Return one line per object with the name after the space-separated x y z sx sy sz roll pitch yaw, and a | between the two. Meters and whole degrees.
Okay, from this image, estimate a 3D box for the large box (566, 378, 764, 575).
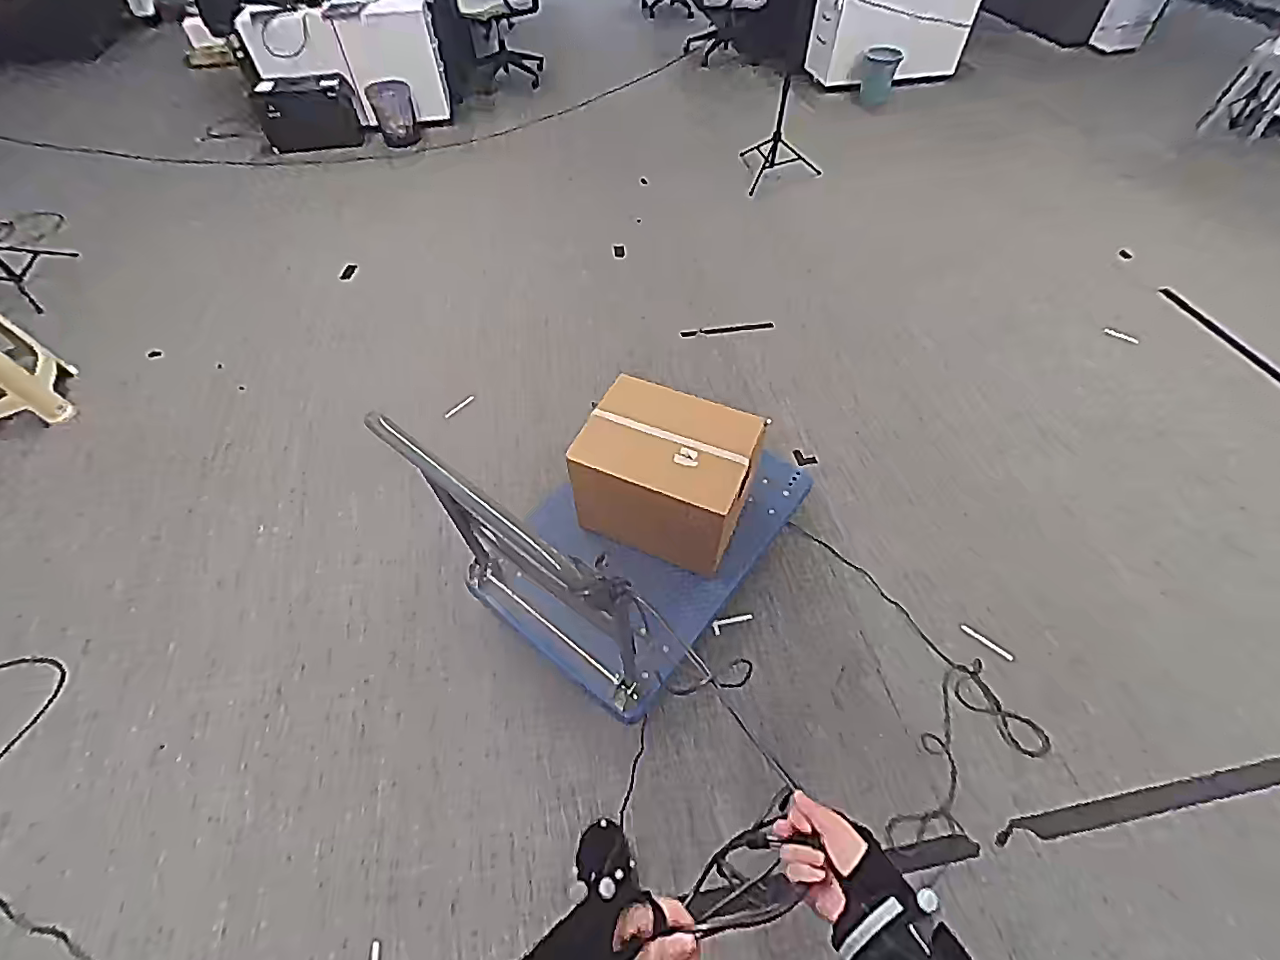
0.062 -0.008 1.414 0.408 0.320 0.320 20 57 14 | large box
